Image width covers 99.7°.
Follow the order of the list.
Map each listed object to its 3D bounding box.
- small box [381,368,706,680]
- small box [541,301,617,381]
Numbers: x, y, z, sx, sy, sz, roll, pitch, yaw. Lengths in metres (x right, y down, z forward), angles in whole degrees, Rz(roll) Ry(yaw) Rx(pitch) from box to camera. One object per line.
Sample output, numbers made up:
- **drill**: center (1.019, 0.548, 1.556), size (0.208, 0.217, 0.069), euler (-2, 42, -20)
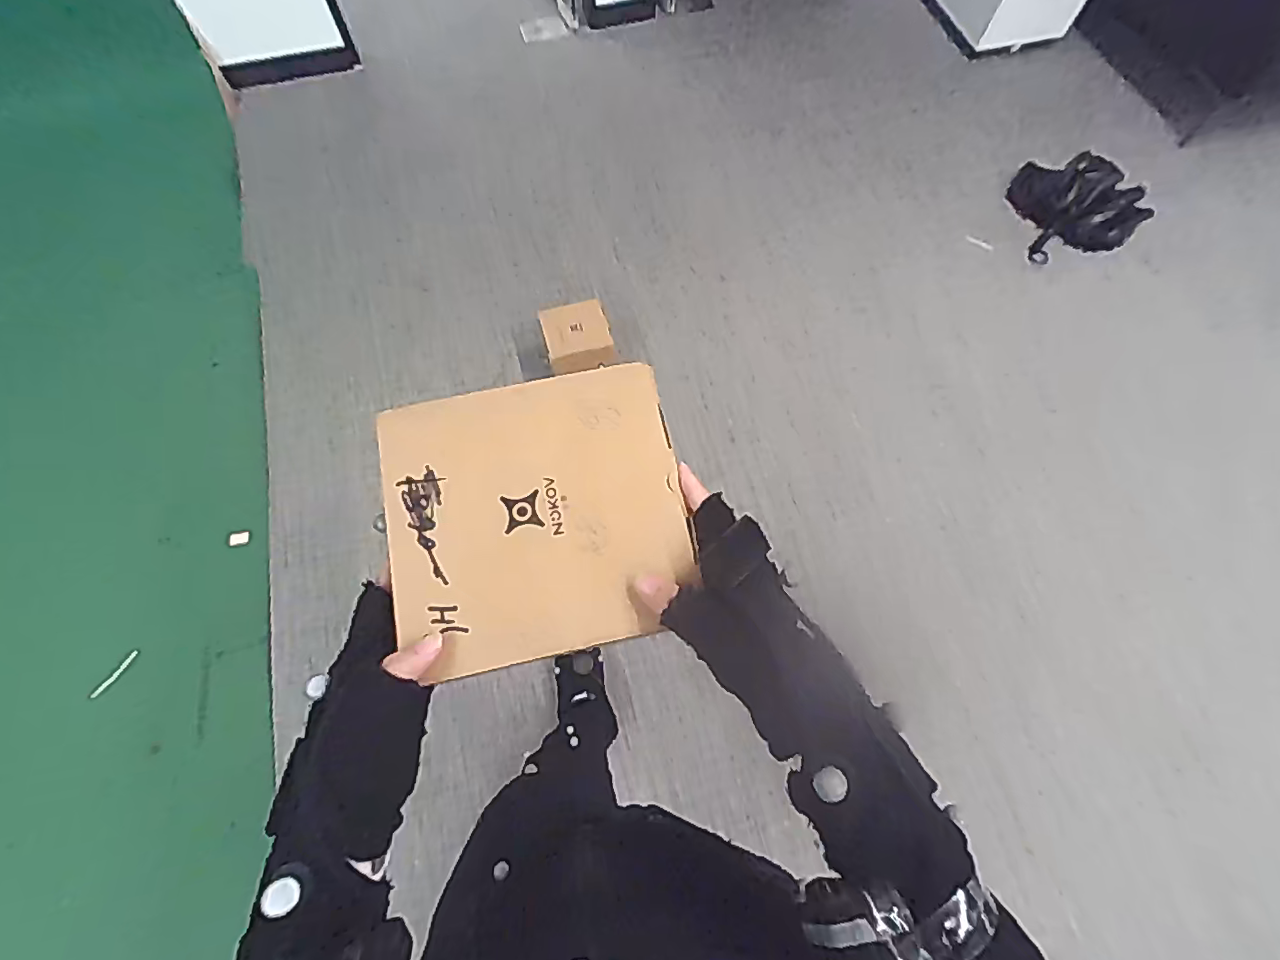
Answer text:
- **small box**: center (-0.066, 0.041, 0.402), size (0.179, 0.176, 0.168), euler (-11, 73, -5)
- **small box**: center (-0.167, -0.372, 1.530), size (0.179, 0.176, 0.168), euler (-16, 68, -6)
